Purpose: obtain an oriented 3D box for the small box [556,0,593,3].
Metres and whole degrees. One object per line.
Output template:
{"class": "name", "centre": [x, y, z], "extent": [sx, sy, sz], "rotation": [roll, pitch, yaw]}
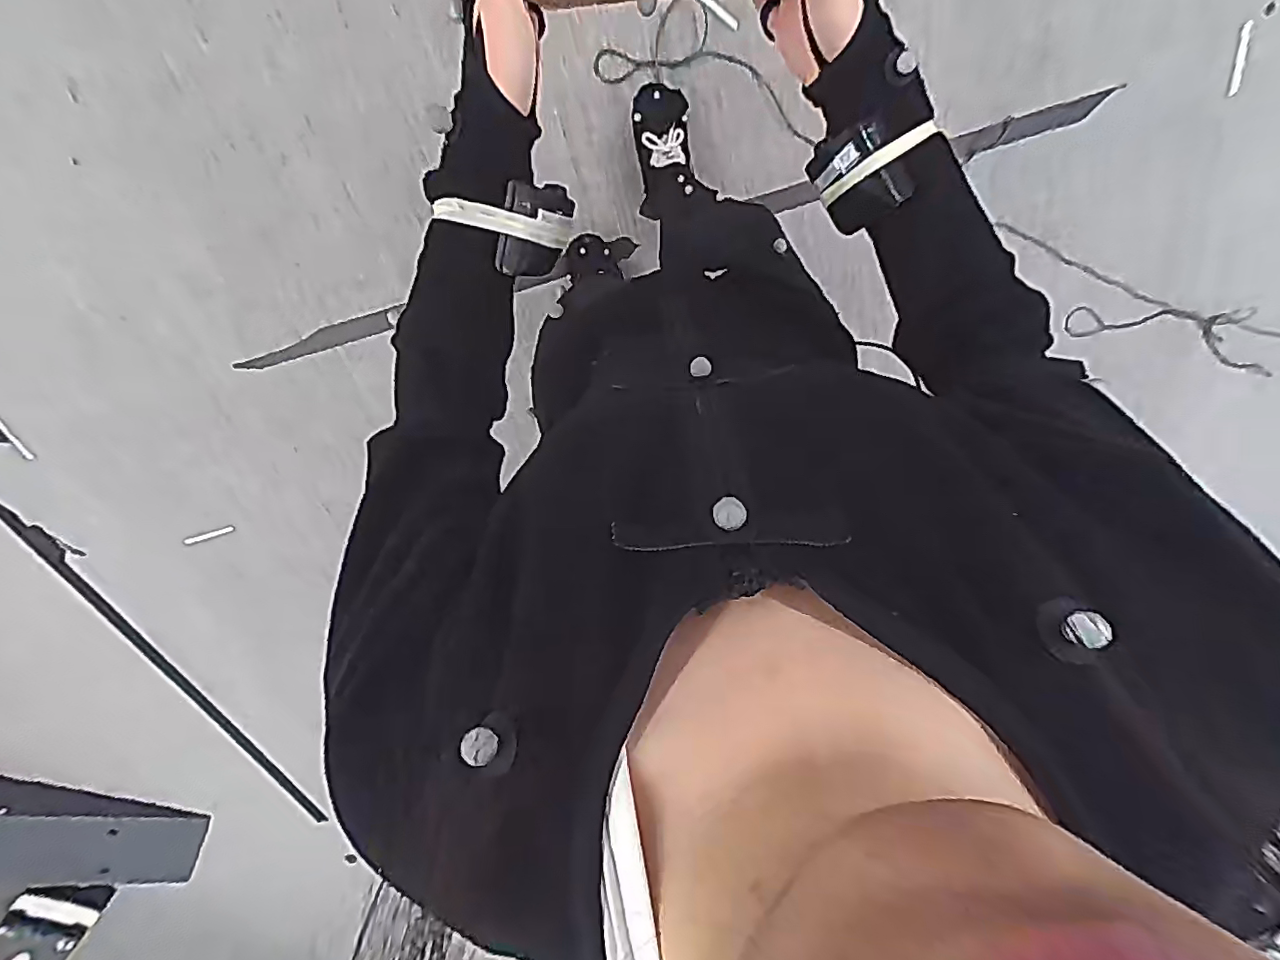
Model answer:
{"class": "small box", "centre": [0.007, -0.403, 0.320], "extent": [0.179, 0.176, 0.168], "rotation": [-7, 129, -1]}
